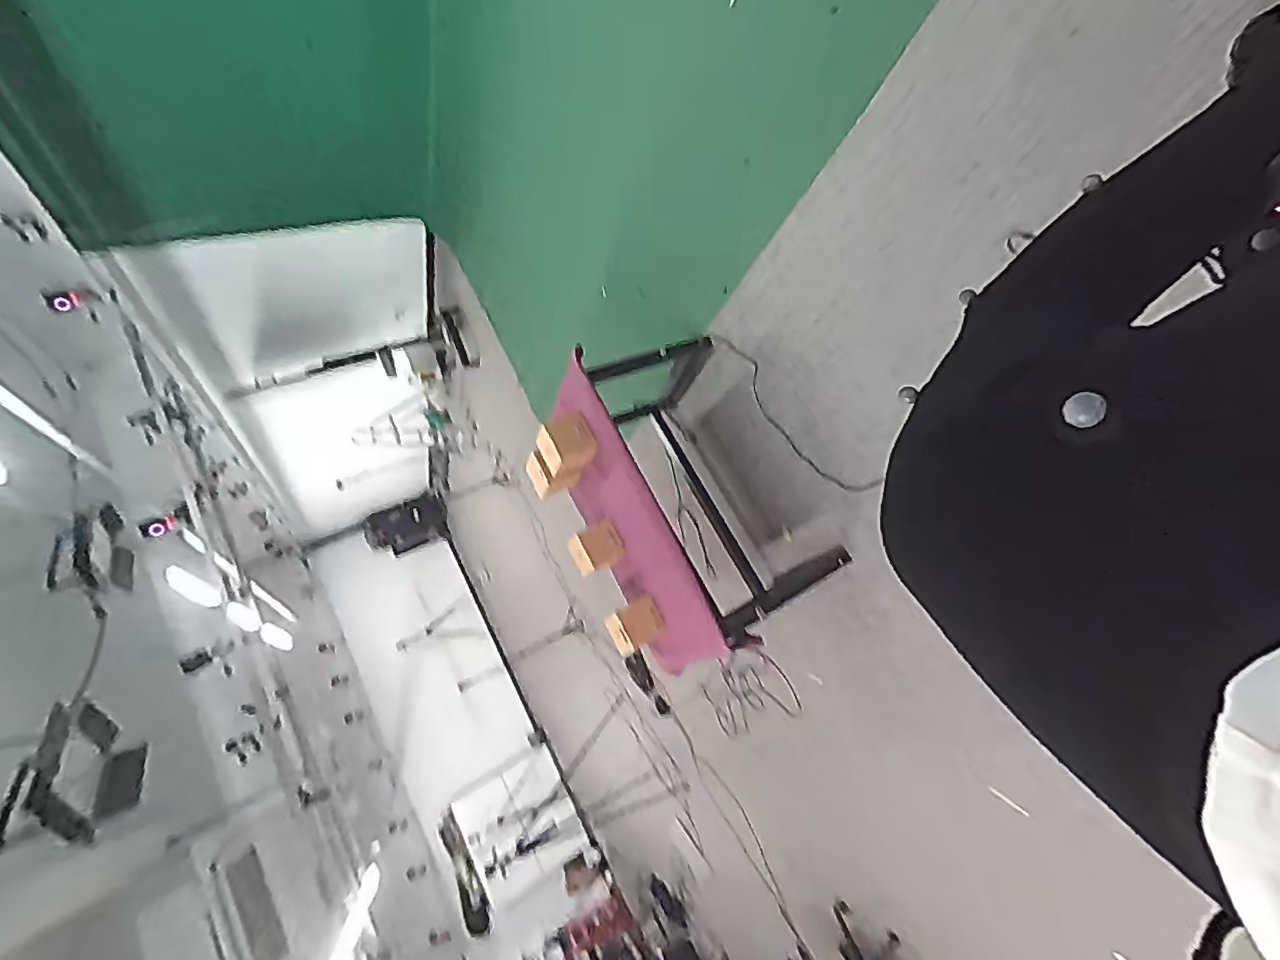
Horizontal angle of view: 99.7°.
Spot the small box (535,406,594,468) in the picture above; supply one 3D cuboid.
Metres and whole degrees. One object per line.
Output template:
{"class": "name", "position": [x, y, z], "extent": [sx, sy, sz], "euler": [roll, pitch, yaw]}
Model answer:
{"class": "small box", "position": [-0.302, -0.172, 2.174], "extent": [0.168, 0.176, 0.179], "euler": [61, 153, 9]}

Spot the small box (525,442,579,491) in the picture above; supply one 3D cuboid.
{"class": "small box", "position": [-0.392, -0.078, 2.402], "extent": [0.168, 0.176, 0.179], "euler": [61, 151, 11]}

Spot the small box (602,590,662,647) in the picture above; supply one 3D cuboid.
{"class": "small box", "position": [-0.031, 0.574, 2.247], "extent": [0.168, 0.176, 0.179], "euler": [62, 152, 12]}

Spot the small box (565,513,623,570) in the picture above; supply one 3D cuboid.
{"class": "small box", "position": [-0.196, 0.263, 2.314], "extent": [0.168, 0.176, 0.179], "euler": [61, 151, 10]}
